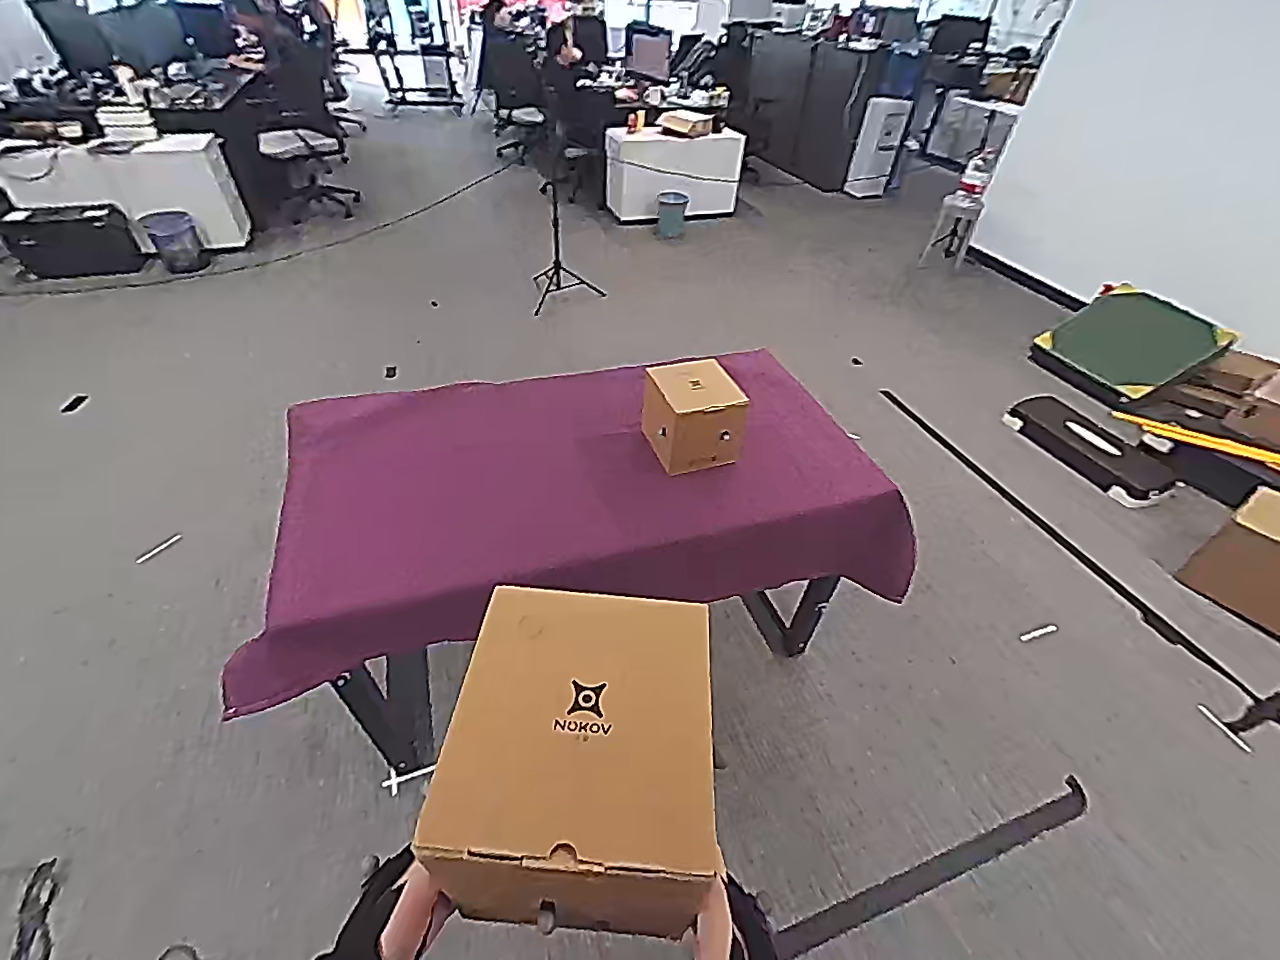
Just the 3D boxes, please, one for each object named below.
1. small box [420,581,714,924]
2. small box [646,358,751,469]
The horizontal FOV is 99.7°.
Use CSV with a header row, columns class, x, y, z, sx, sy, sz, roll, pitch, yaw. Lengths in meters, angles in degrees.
class,x,y,z,sx,sy,sz,roll,pitch,yaw
small box,-0.041,0.203,0.408,0.168,0.176,0.179,5,43,0
small box,0.119,-0.140,1.180,0.168,0.176,0.179,-11,45,-16
